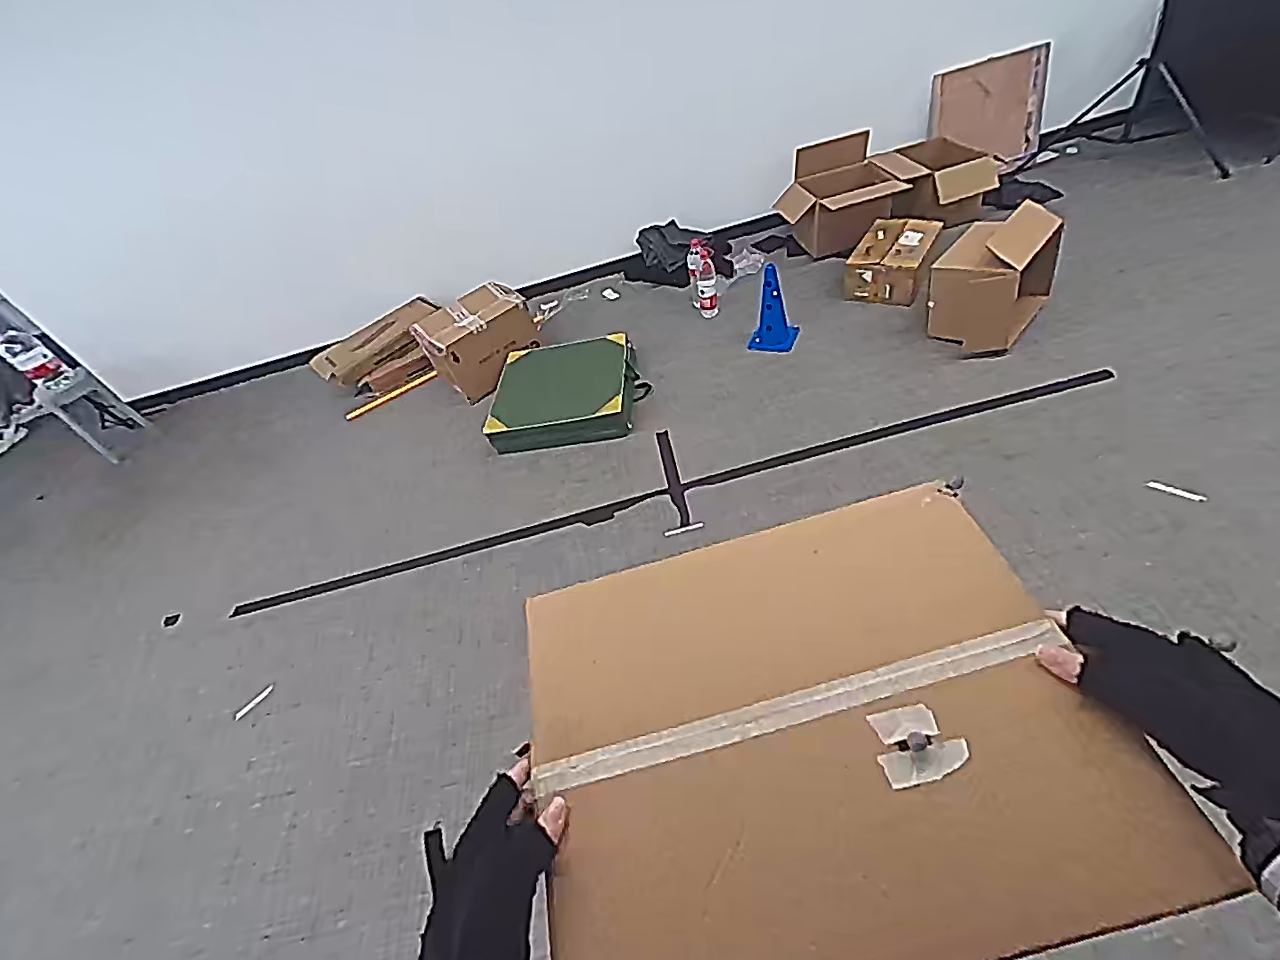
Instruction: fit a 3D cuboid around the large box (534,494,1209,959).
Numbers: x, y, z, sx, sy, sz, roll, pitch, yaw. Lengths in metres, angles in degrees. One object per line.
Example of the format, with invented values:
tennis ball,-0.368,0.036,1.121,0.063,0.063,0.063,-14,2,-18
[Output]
large box,0.147,0.274,0.529,0.408,0.320,0.320,-17,49,0
